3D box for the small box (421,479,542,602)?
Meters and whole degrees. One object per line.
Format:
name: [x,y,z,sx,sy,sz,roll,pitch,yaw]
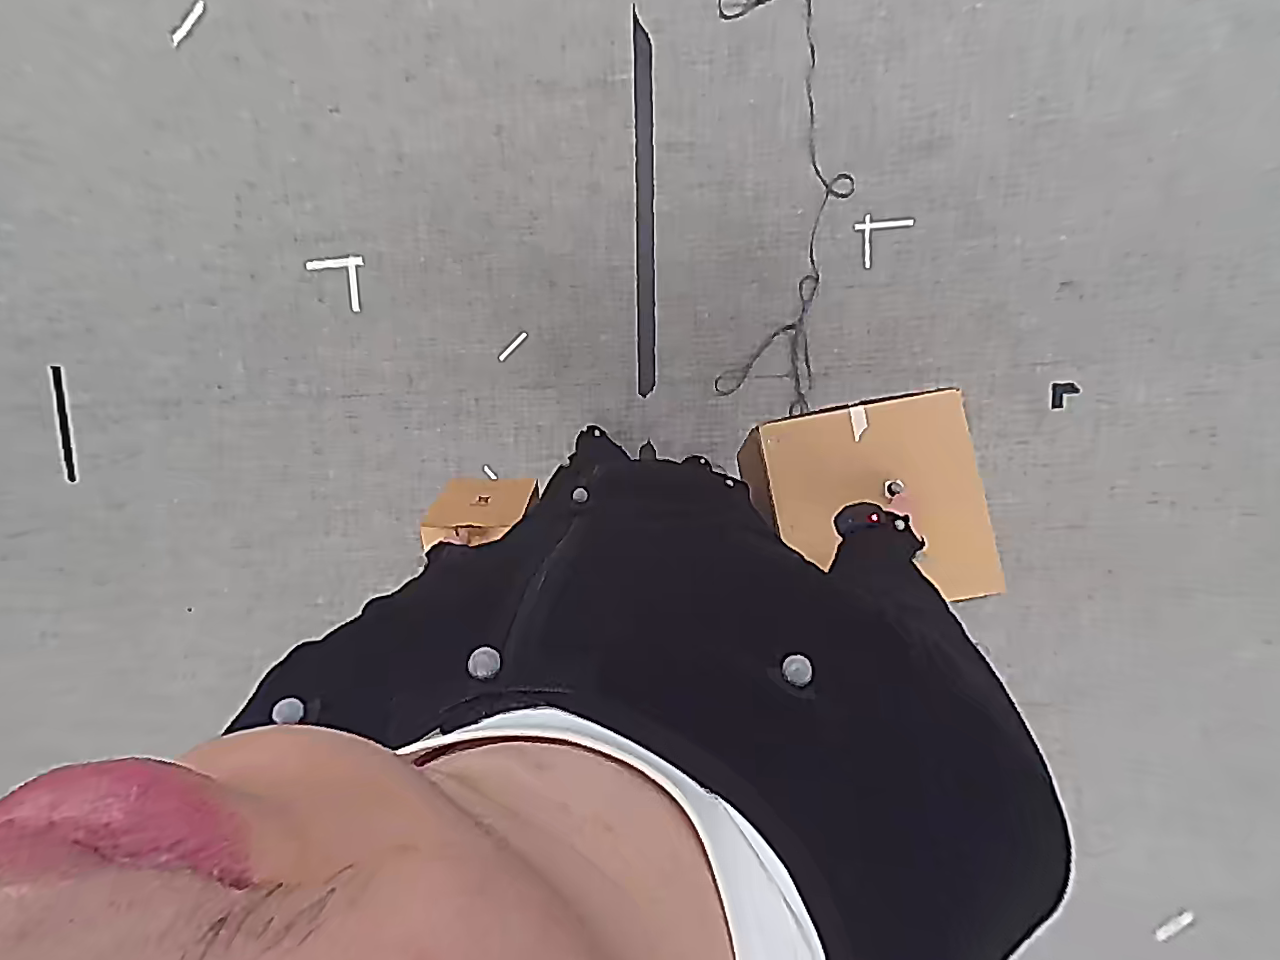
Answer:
small box: [-0.280,0.110,1.004,0.168,0.179,0.176,0,117,1]
